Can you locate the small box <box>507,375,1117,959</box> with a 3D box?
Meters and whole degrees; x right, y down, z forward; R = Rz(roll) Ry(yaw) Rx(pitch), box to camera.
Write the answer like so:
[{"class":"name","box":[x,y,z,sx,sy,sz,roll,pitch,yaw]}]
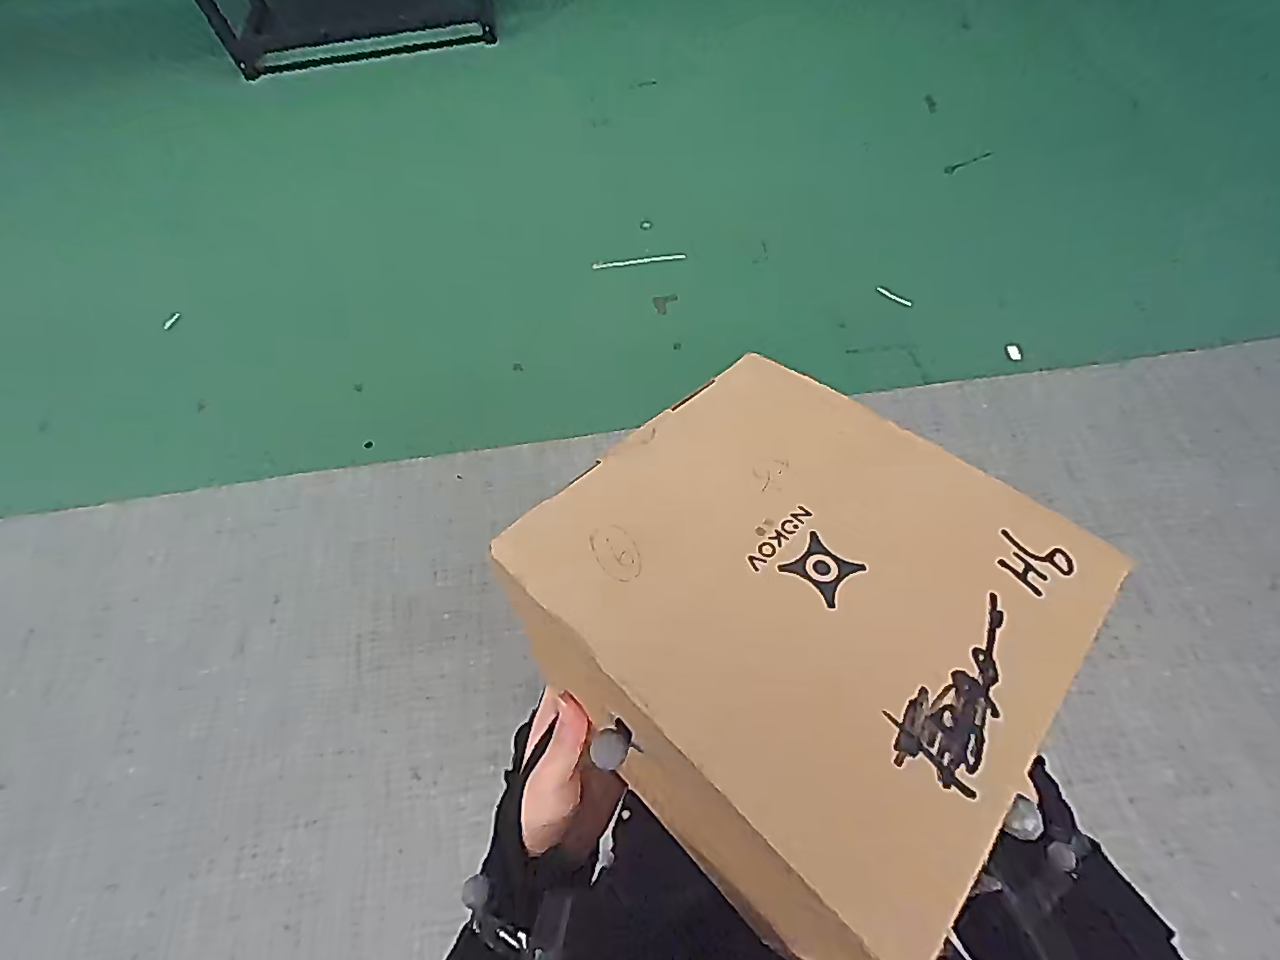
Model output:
[{"class":"small box","box":[0.064,0.085,0.269,0.179,0.176,0.168,37,61,27]}]
